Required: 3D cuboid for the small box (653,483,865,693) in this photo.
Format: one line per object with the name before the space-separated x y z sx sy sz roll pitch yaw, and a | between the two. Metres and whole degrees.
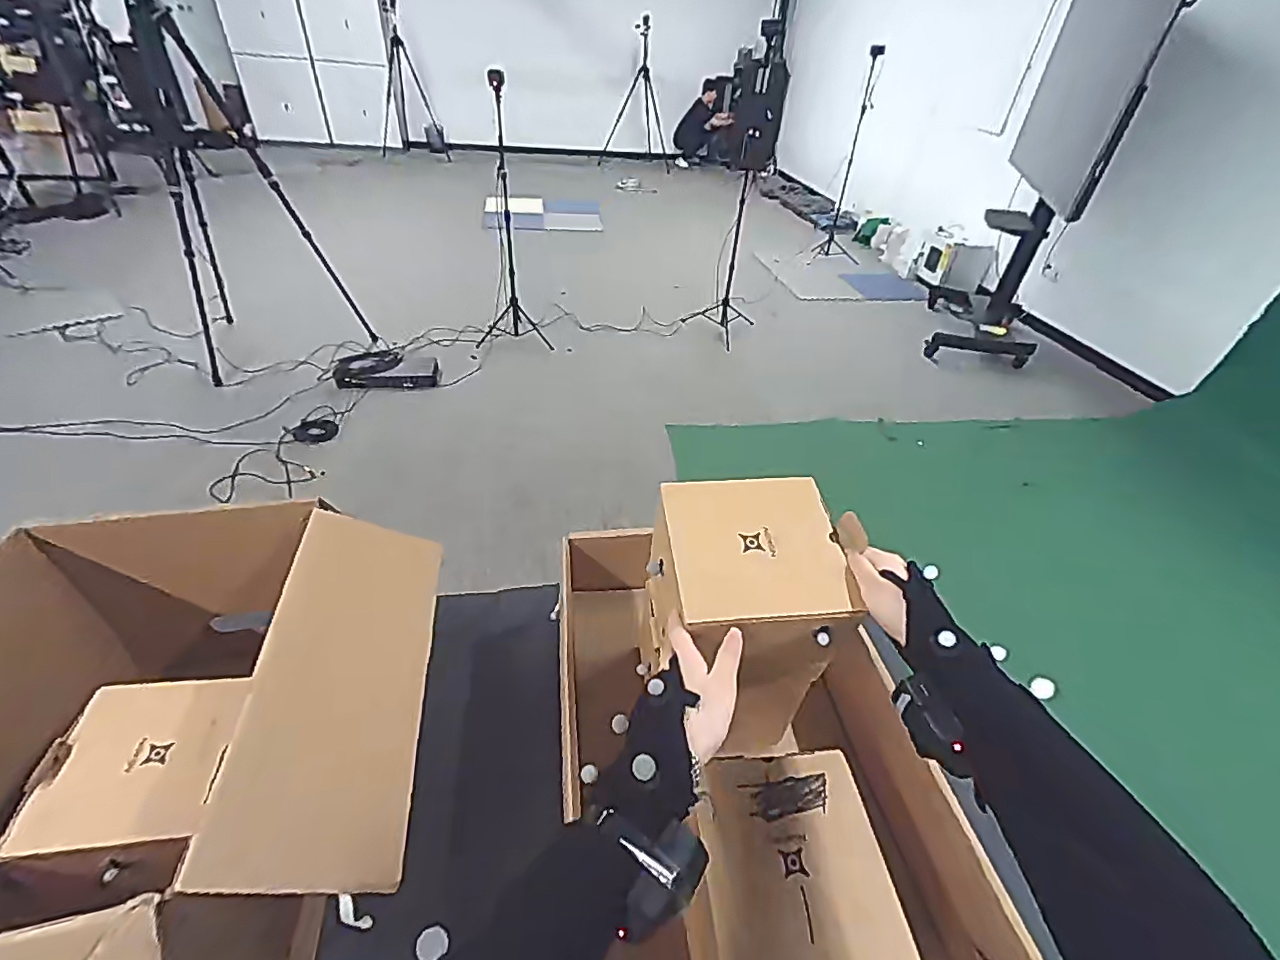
small box | 0.110 0.121 0.597 0.179 0.176 0.168 -2 49 -8
